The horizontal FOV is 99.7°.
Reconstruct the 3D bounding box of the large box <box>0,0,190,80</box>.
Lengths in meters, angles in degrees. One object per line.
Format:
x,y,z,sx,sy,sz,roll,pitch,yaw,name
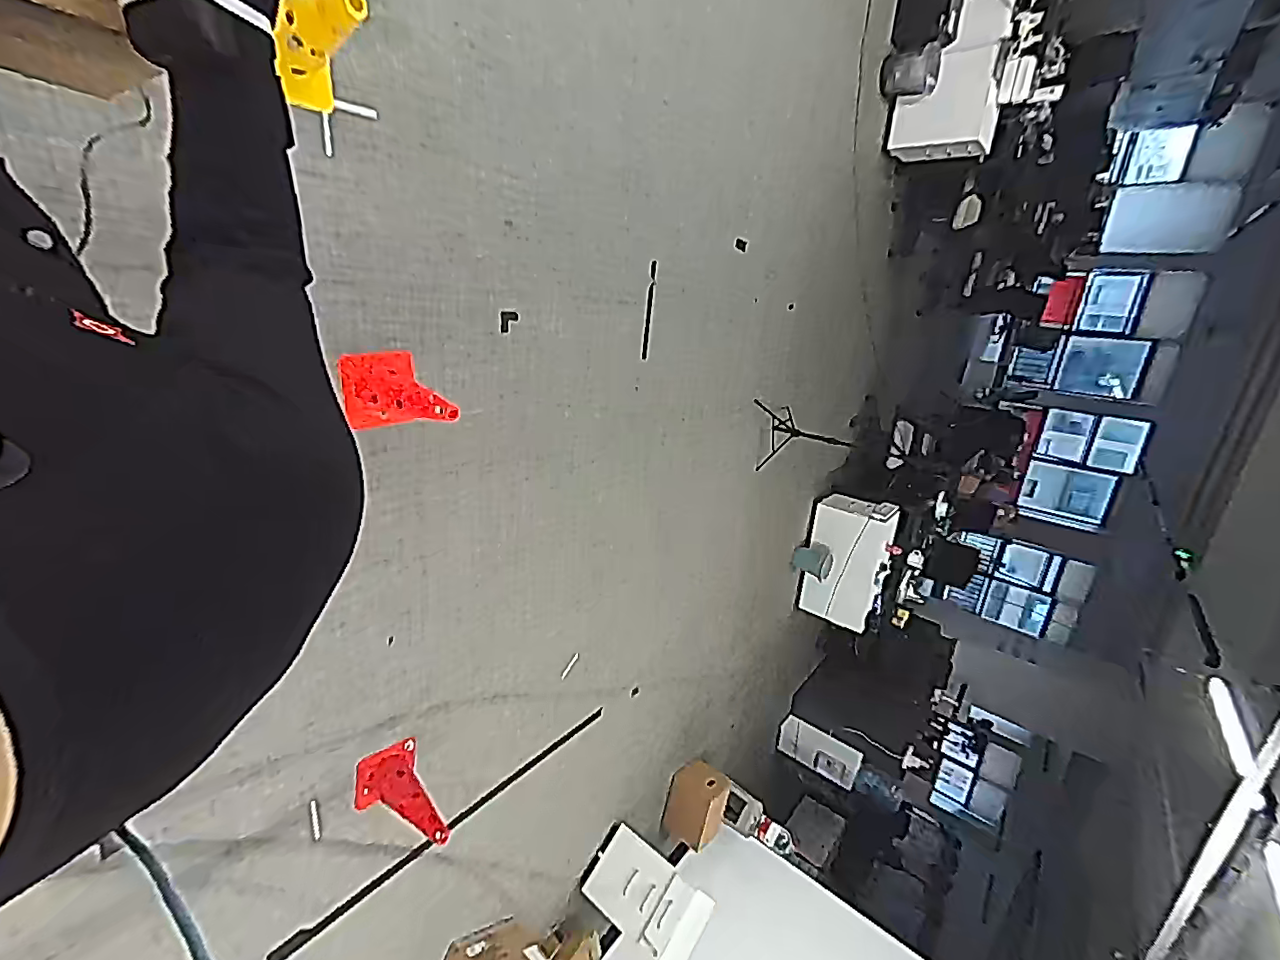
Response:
-0.539,-0.476,0.274,0.408,0.320,0.320,-12,118,-51,large box

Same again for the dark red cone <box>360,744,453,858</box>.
-0.711,1.044,1.711,0.201,0.394,0.202,-8,111,-50,dark red cone

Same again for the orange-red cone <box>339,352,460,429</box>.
-0.579,-0.206,1.377,0.198,0.360,0.199,-21,119,-48,orange-red cone
